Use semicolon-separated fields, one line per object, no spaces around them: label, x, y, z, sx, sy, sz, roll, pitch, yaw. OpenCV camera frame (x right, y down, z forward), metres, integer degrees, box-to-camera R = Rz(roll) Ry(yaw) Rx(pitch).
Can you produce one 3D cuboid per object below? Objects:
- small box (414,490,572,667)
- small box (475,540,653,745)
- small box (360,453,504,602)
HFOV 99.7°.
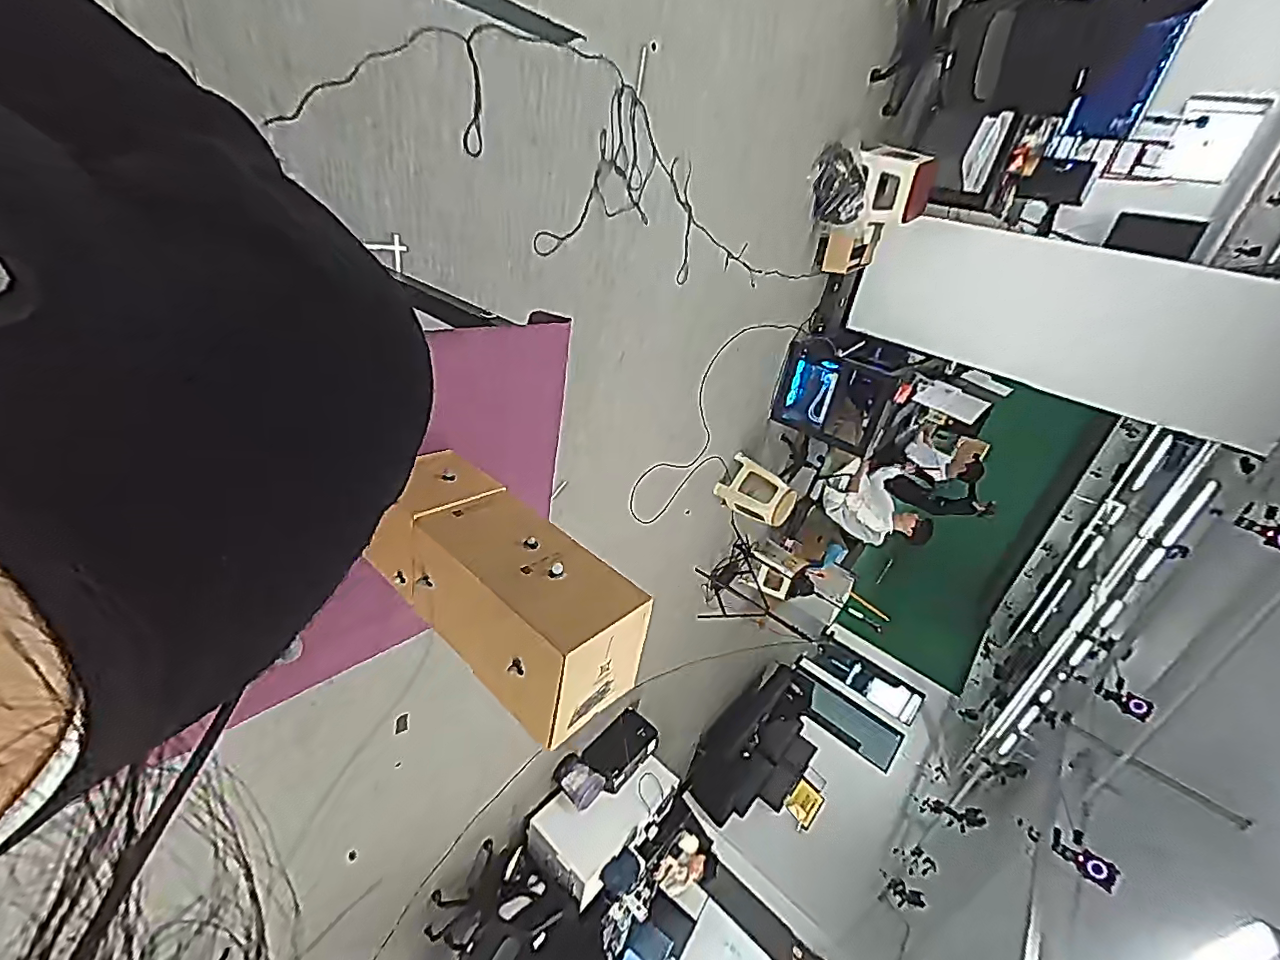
small box;-0.232;0.142;0.837;0.168;0.176;0.179;-22;134;-47
small box;-0.111;0.213;0.750;0.168;0.176;0.179;-21;132;-47
small box;-0.354;0.066;0.917;0.168;0.176;0.179;-21;133;-47
